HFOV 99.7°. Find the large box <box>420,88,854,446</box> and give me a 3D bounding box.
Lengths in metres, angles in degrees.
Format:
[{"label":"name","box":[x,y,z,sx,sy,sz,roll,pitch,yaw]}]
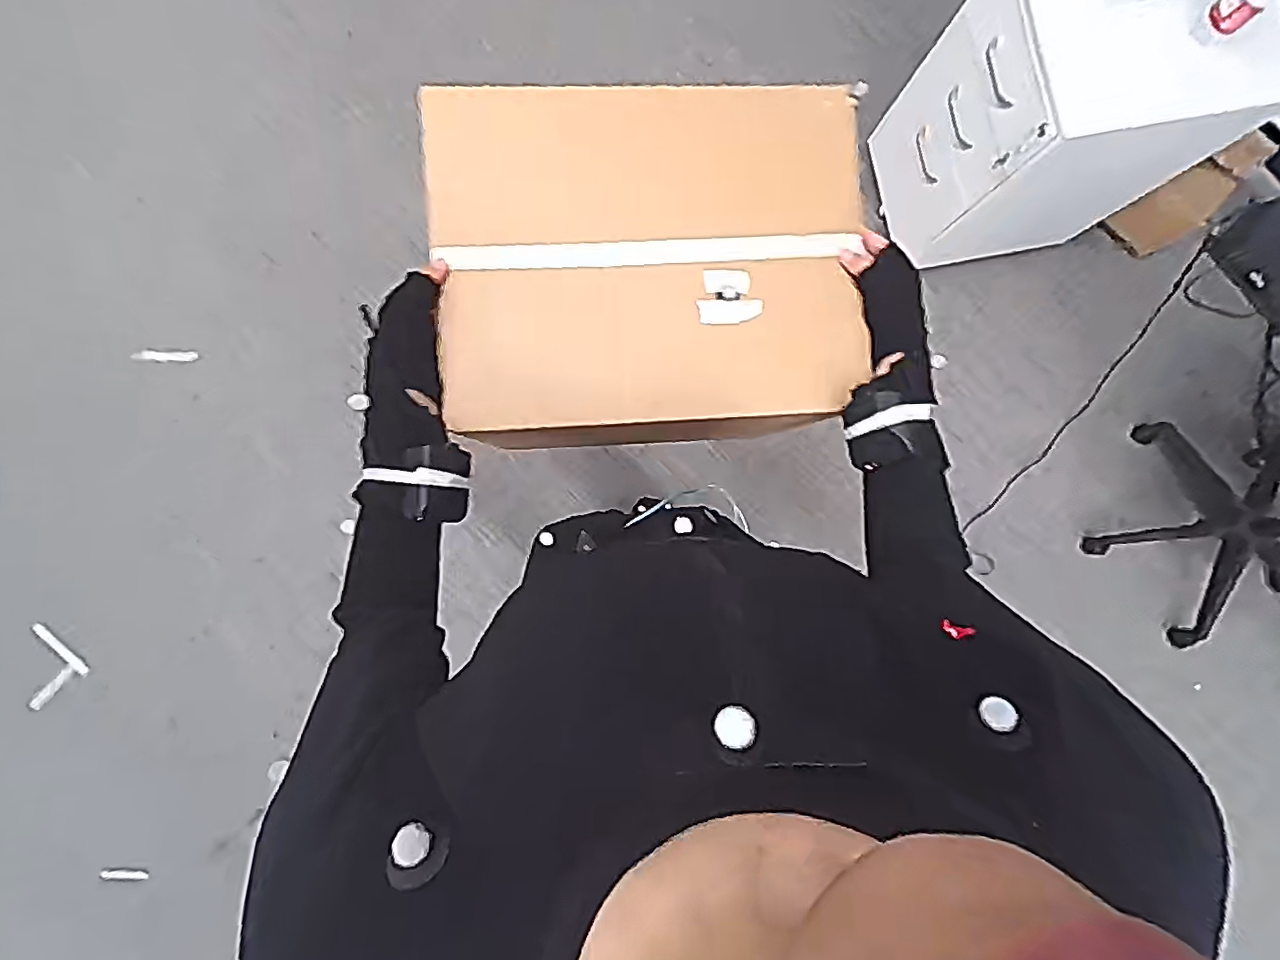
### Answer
[{"label":"large box","box":[-0.010,-0.220,0.667,0.408,0.320,0.320,-5,92,-6]}]
